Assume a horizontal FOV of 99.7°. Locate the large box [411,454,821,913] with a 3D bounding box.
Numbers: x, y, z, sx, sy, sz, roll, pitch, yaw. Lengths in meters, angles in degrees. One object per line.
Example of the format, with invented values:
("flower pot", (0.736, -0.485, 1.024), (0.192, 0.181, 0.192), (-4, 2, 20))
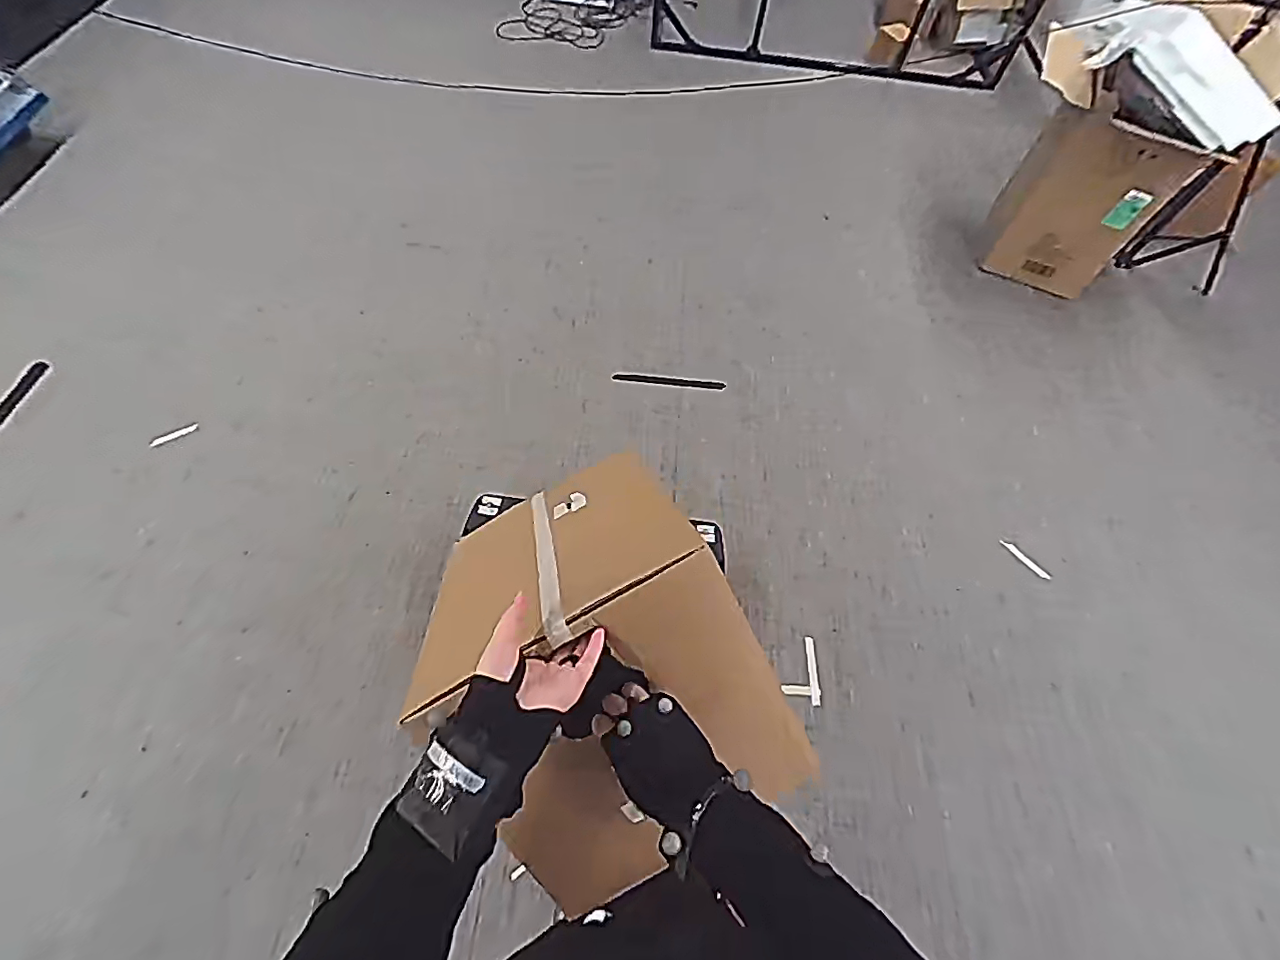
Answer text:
("large box", (-0.041, 0.207, 0.703), (0.320, 0.408, 0.320), (-29, 109, -3))
